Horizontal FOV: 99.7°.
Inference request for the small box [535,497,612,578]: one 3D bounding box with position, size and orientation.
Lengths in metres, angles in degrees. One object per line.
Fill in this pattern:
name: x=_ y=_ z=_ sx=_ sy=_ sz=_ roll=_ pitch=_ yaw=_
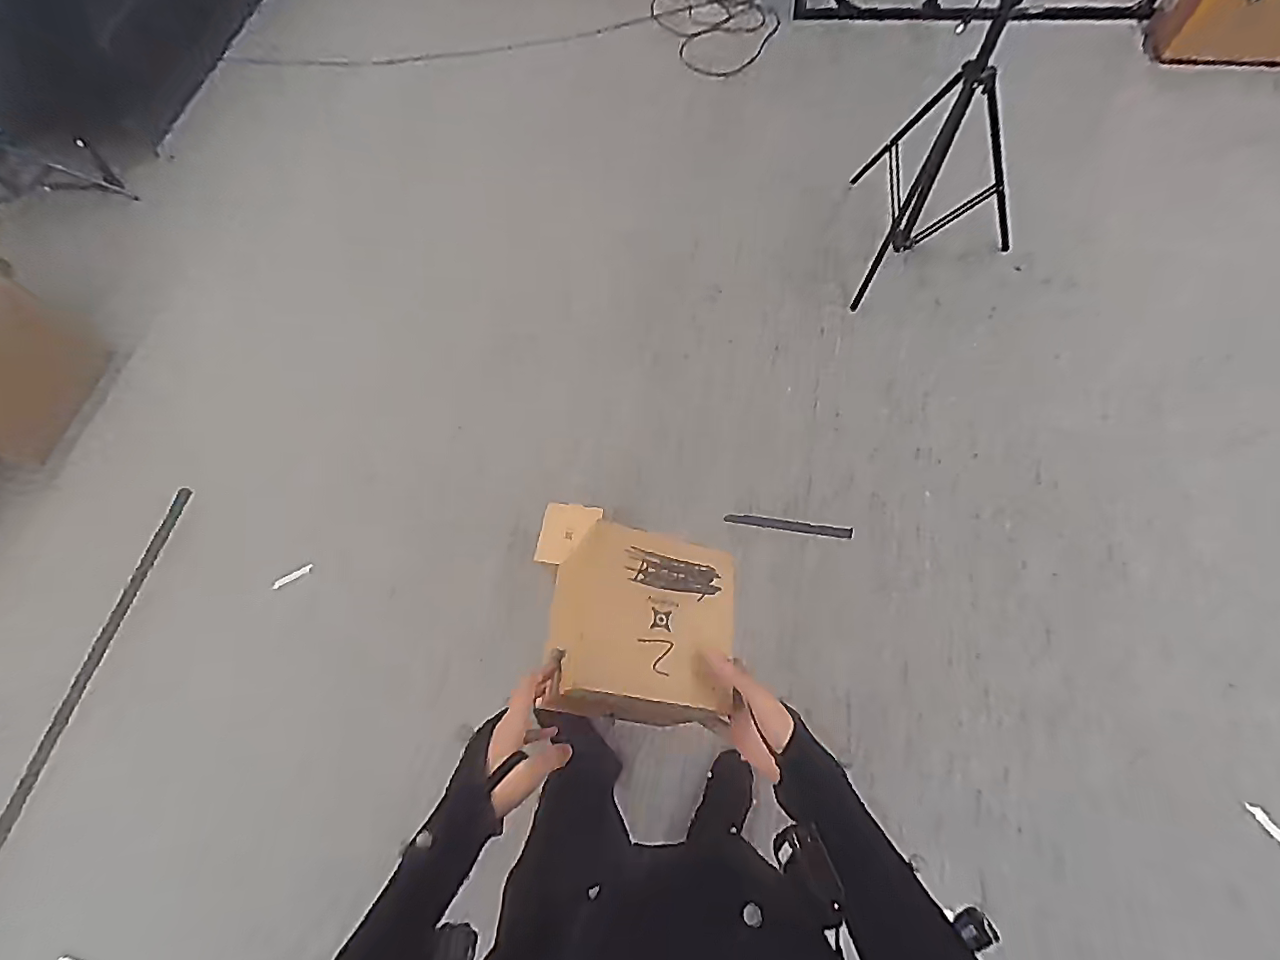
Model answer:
small box: x=-0.182 y=0.168 z=1.554 sx=0.168 sy=0.176 sz=0.179 roll=7 pitch=68 yaw=11
